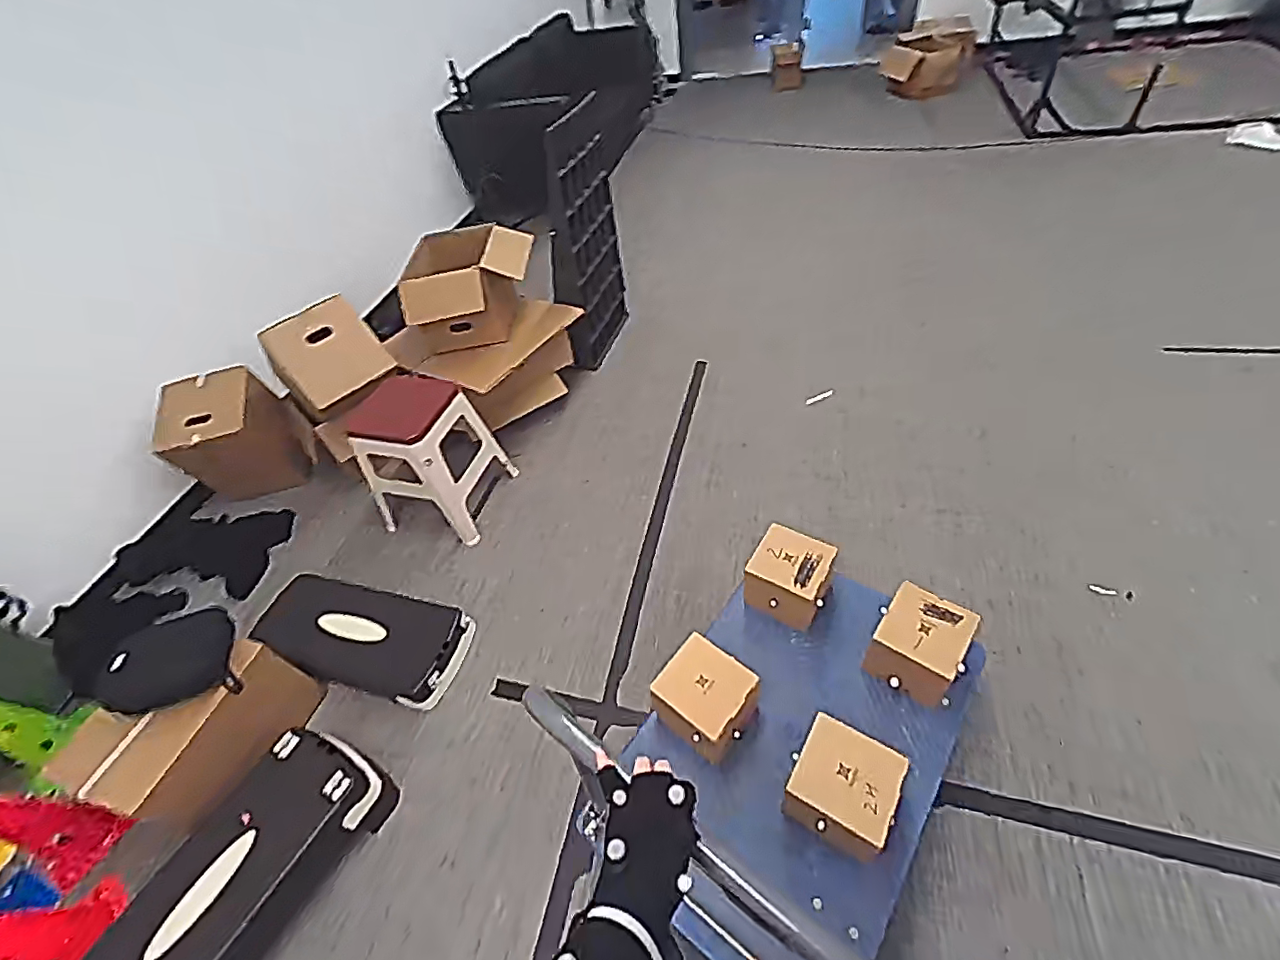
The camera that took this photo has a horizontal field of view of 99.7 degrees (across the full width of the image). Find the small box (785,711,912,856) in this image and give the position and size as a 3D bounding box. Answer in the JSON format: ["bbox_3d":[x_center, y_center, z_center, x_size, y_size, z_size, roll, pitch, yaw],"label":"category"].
[{"bbox_3d":[0.395,0.591,1.049,0.179,0.176,0.168,22,55,27],"label":"small box"}]

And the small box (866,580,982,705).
[{"bbox_3d":[0.629,0.366,1.215,0.168,0.176,0.179,27,59,30],"label":"small box"}]

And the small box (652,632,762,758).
[{"bbox_3d":[0.149,0.479,1.198,0.179,0.176,0.168,29,58,30],"label":"small box"}]
